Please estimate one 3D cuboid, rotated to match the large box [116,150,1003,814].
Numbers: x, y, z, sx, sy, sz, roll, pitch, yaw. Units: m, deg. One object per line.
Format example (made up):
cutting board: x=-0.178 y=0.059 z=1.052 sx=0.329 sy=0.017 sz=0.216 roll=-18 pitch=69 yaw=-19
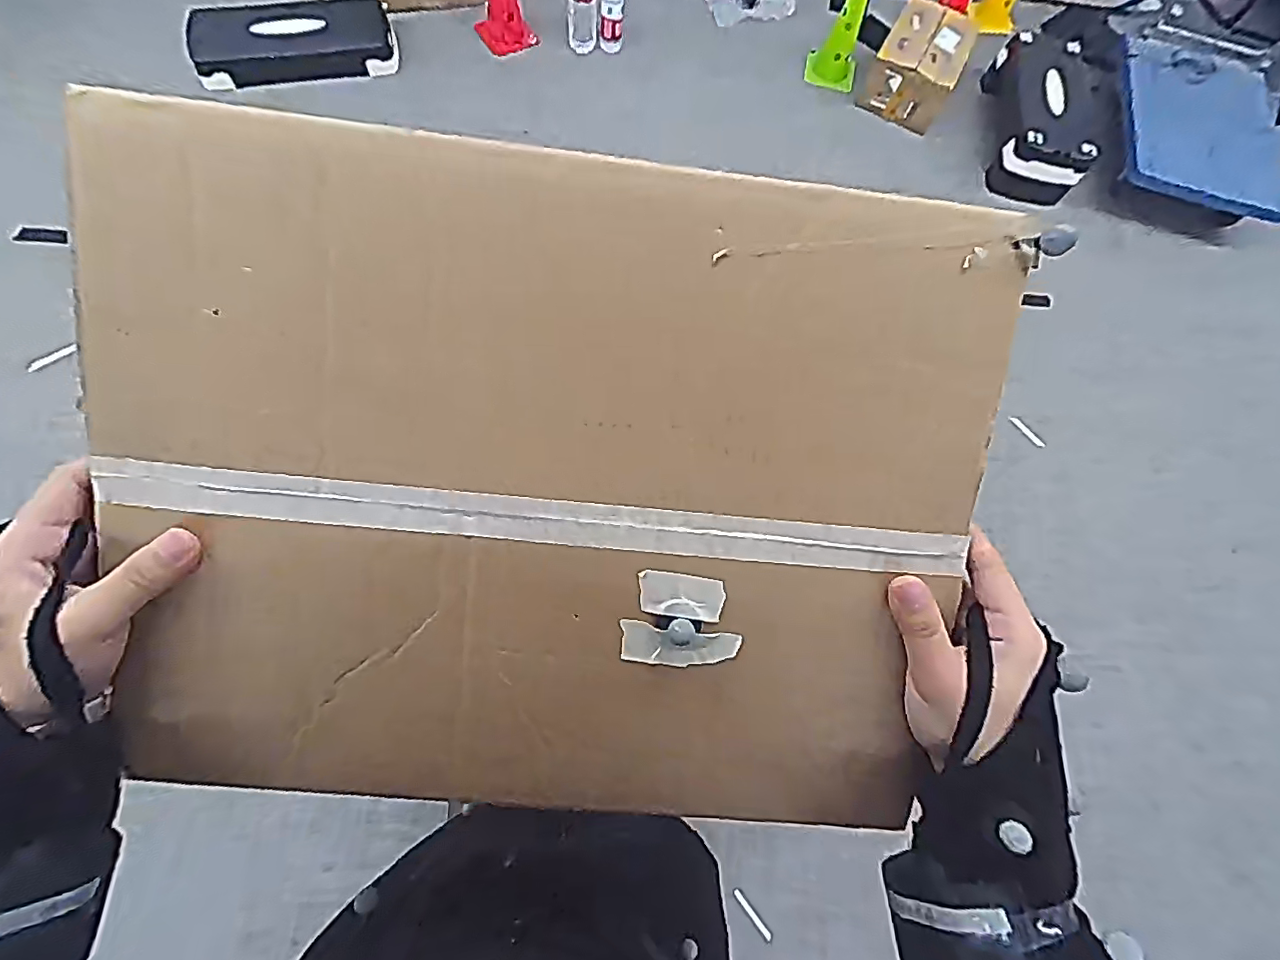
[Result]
large box: x=-0.048 y=-0.002 z=0.412 sx=0.408 sy=0.320 sz=0.320 roll=5 pitch=101 yaw=-4
